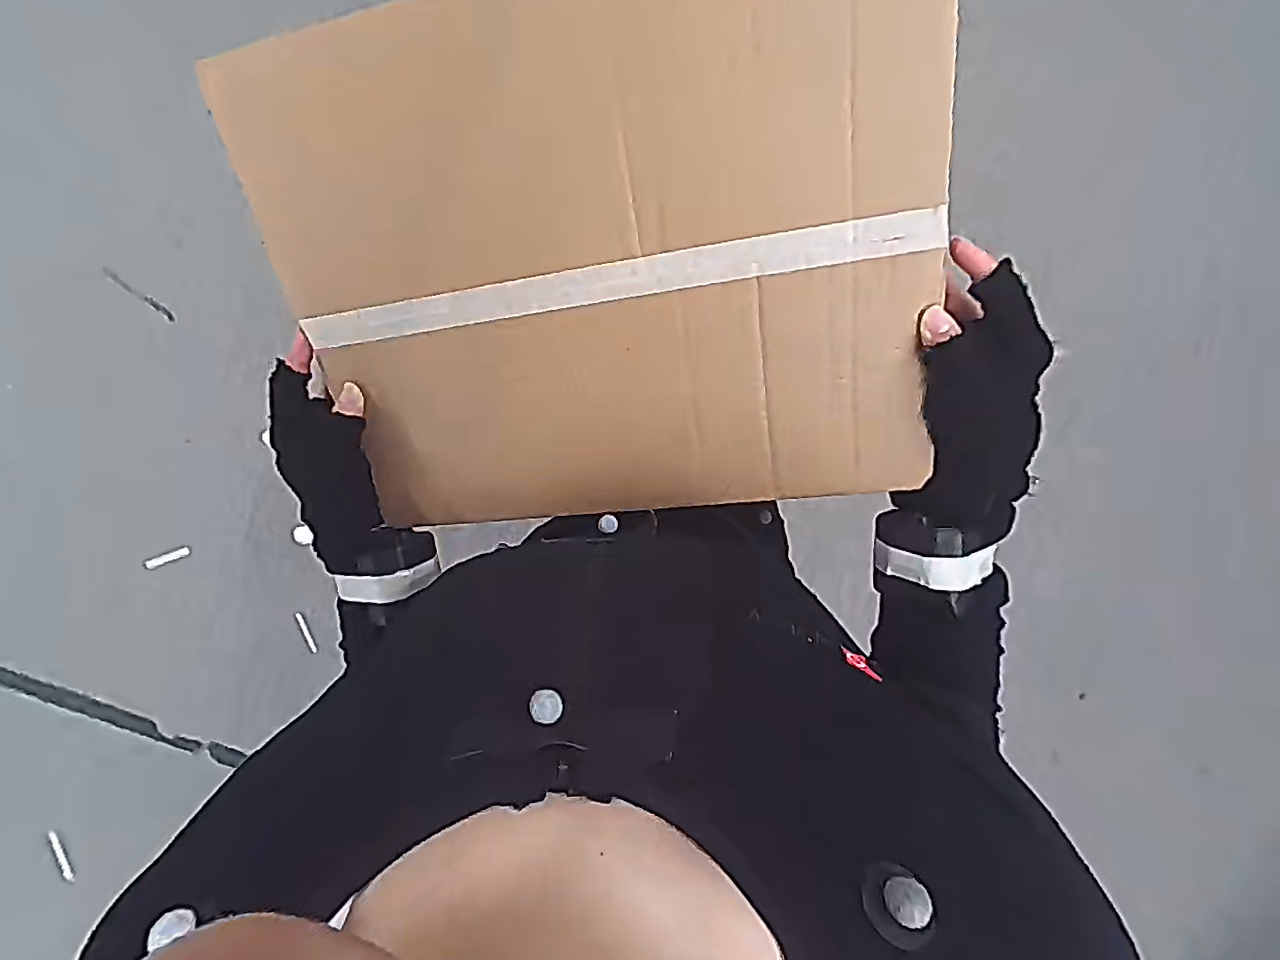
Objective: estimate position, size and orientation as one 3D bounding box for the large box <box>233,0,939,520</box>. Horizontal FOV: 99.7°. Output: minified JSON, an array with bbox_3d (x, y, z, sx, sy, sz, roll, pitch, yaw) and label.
[{"bbox_3d":[-0.010,-0.186,0.476,0.408,0.320,0.320,-5,115,12],"label":"large box"}]
